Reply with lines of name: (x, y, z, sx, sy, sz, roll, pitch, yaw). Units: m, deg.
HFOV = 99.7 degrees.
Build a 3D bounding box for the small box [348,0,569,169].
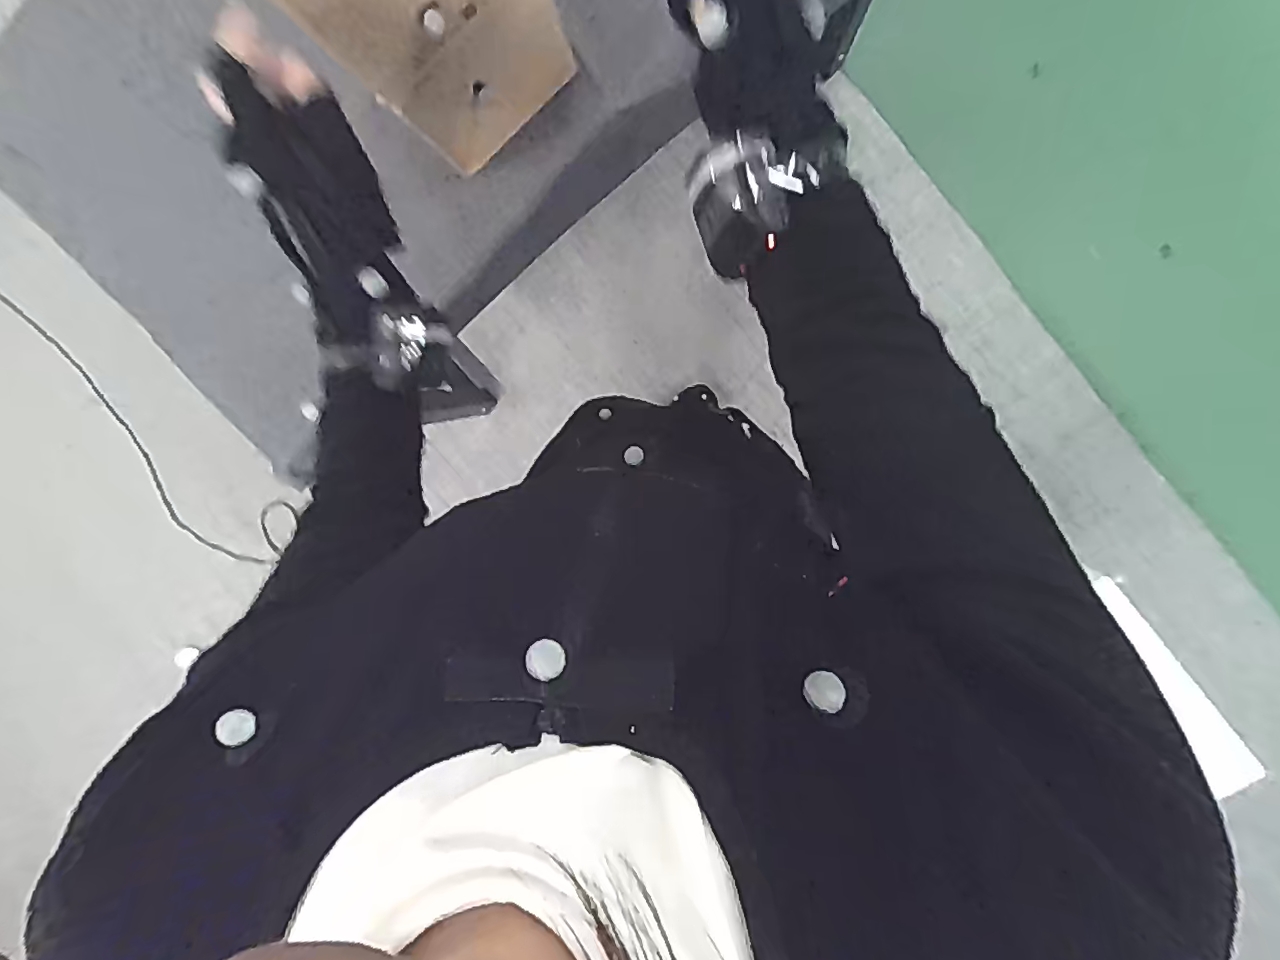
small box: (-0.197, -0.459, 0.542, 0.179, 0.176, 0.168, -38, 94, 12)
